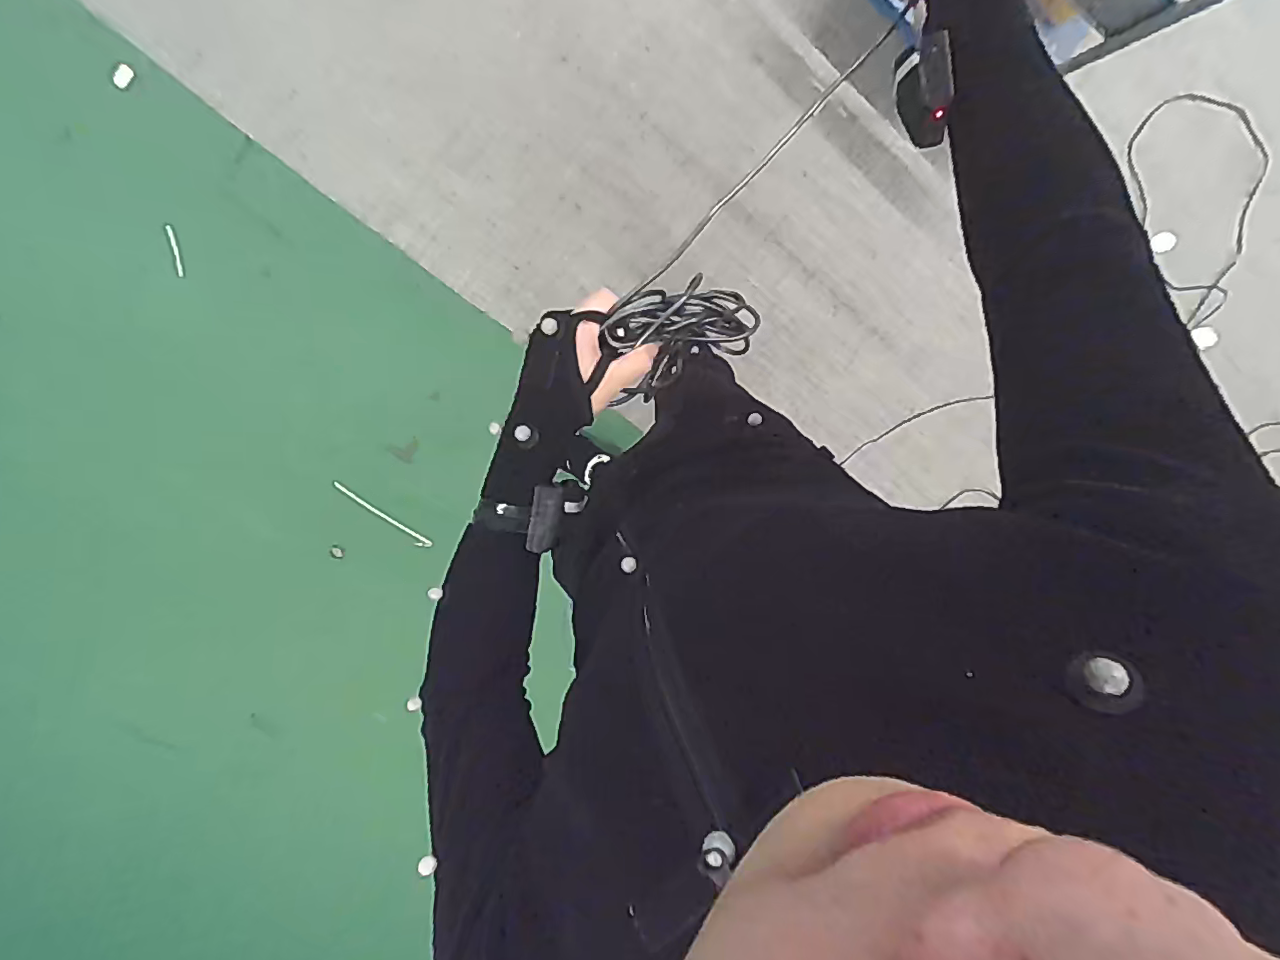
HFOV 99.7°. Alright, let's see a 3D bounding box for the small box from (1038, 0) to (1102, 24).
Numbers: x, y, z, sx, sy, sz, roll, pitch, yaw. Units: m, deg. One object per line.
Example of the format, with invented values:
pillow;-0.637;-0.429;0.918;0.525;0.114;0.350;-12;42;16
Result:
small box;0.972;-1.143;1.147;0.168;0.176;0.179;36;100;-14
